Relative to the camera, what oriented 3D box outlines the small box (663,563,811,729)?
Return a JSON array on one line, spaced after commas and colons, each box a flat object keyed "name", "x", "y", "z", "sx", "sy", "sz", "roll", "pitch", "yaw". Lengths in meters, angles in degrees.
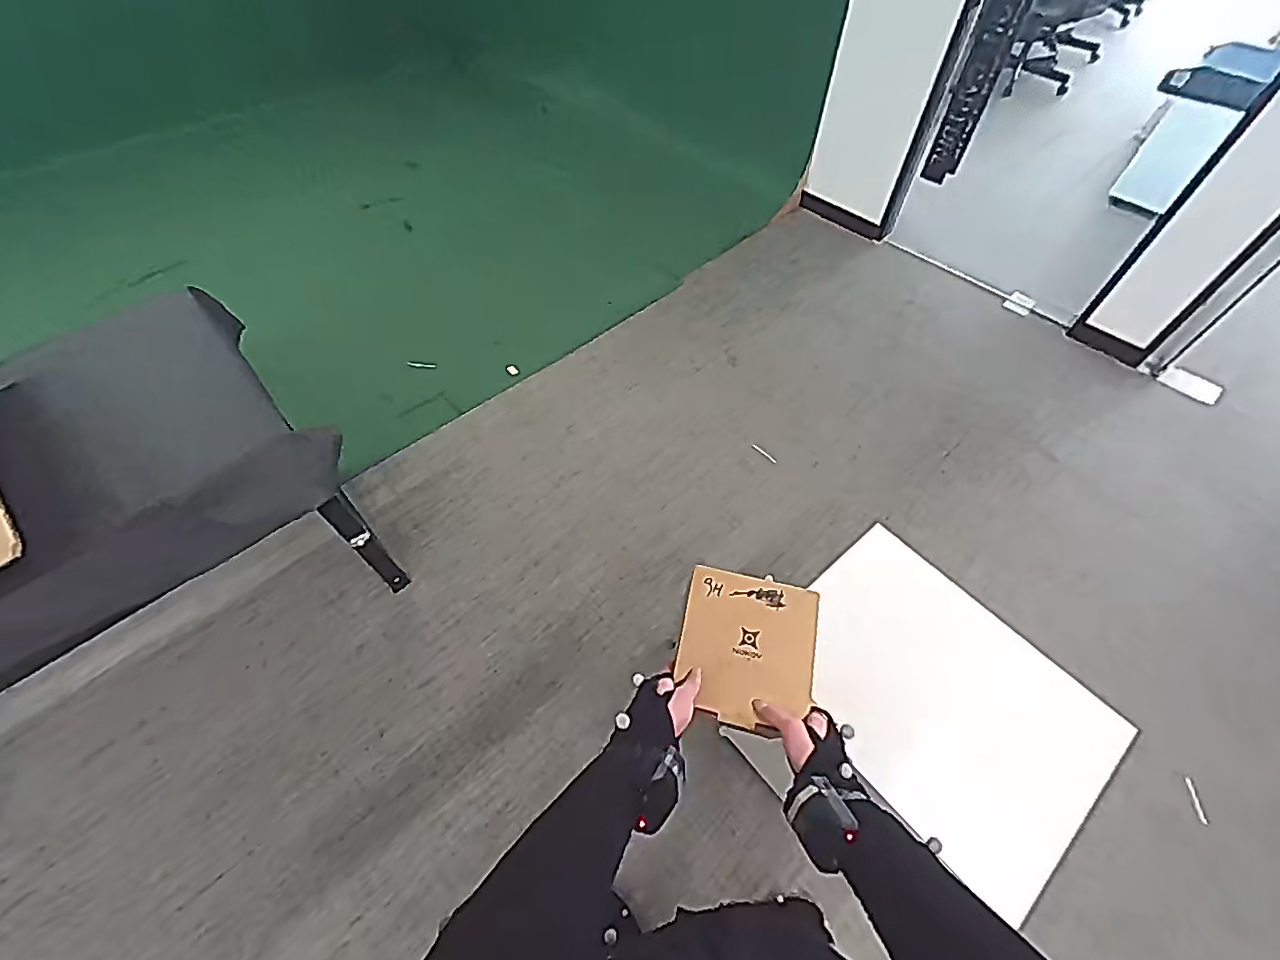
[{"name": "small box", "x": 0.126, "y": 0.235, "z": 0.744, "sx": 0.168, "sy": 0.176, "sz": 0.179, "roll": 10, "pitch": 64, "yaw": 5}]
